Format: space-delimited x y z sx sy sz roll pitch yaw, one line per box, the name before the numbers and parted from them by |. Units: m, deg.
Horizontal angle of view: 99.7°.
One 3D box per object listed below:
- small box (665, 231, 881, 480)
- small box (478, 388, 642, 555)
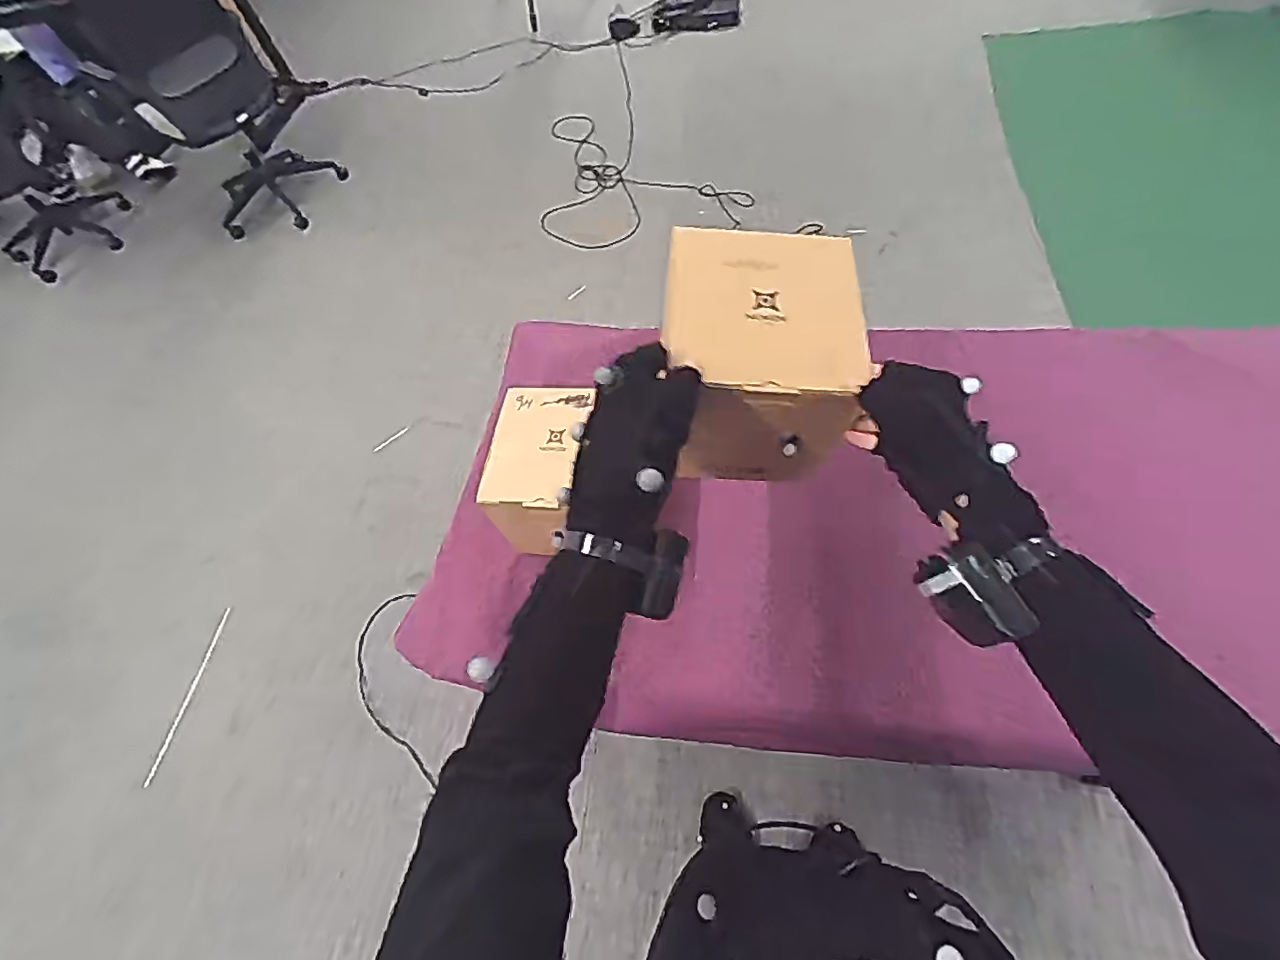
small box | 0.113 -0.112 0.532 0.168 0.176 0.179 3 65 0
small box | -0.095 -0.007 0.743 0.168 0.176 0.179 2 62 10
